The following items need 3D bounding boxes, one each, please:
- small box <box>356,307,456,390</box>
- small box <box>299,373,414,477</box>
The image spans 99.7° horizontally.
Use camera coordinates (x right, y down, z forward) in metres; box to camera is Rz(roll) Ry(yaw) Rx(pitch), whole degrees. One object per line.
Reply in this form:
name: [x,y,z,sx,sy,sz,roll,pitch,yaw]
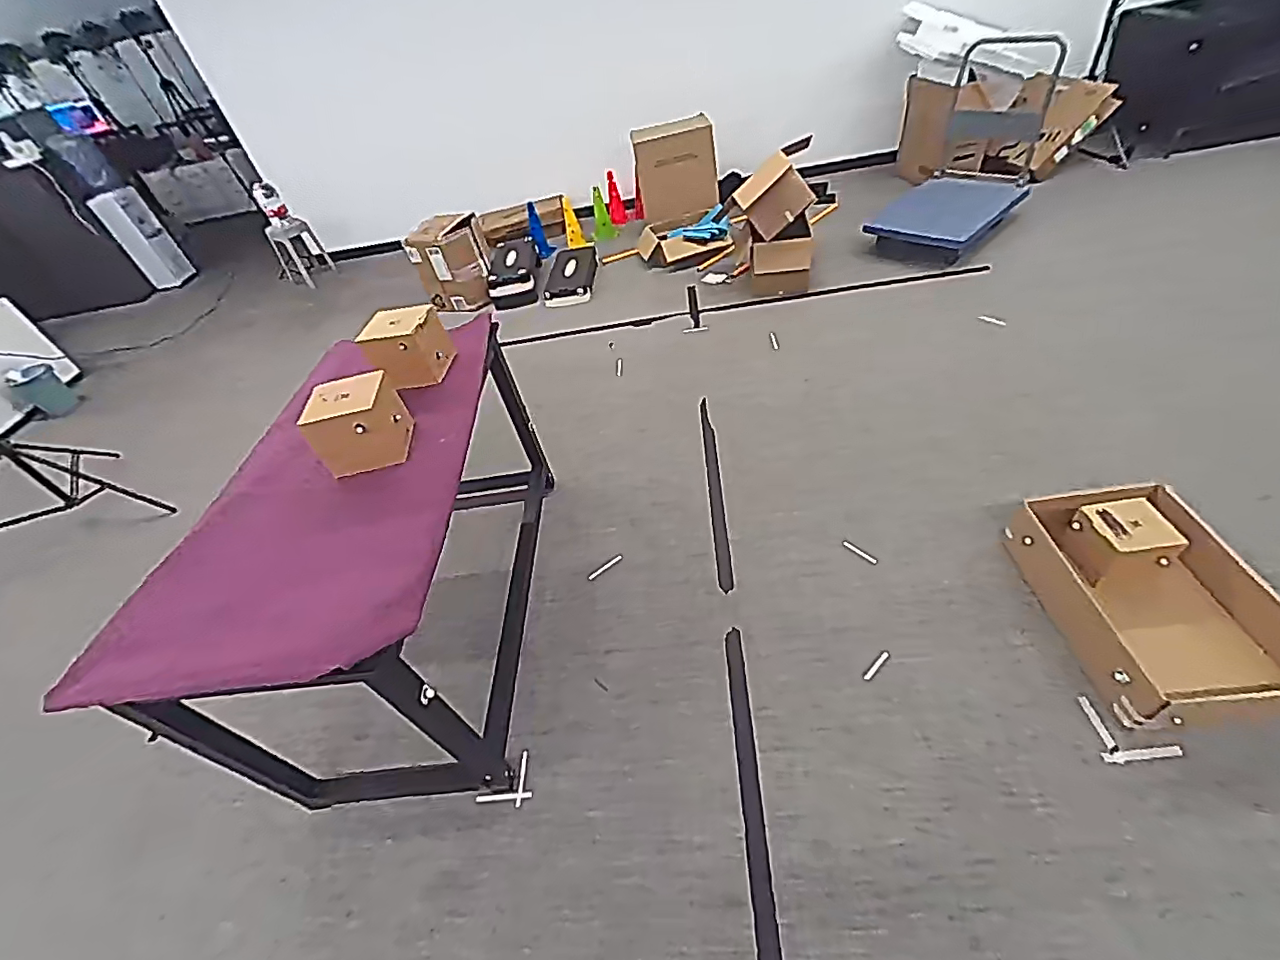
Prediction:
small box: [-0.668,-0.374,1.564,0.179,0.176,0.168,-5,45,10]
small box: [-0.678,-0.131,1.318,0.179,0.176,0.168,-14,43,0]
